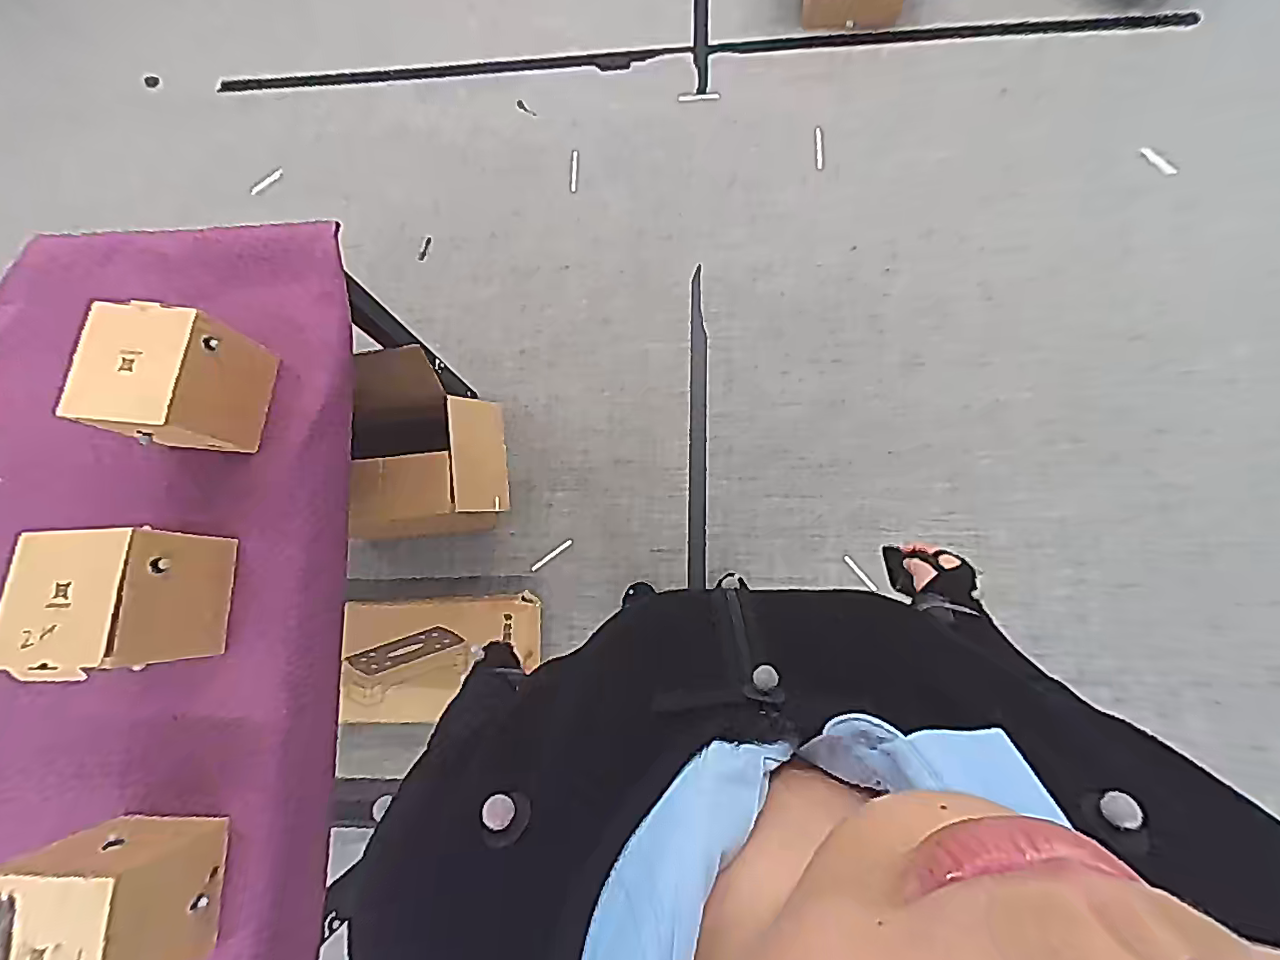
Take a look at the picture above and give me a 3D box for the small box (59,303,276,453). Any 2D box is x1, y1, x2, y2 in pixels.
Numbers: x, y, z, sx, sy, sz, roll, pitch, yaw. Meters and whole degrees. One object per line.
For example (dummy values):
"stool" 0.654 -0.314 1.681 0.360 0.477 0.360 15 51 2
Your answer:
"small box" -0.700 -0.146 0.825 0.168 0.176 0.179 5 79 5

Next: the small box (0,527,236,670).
"small box" -0.716 0.166 0.761 0.168 0.176 0.179 -3 78 6
